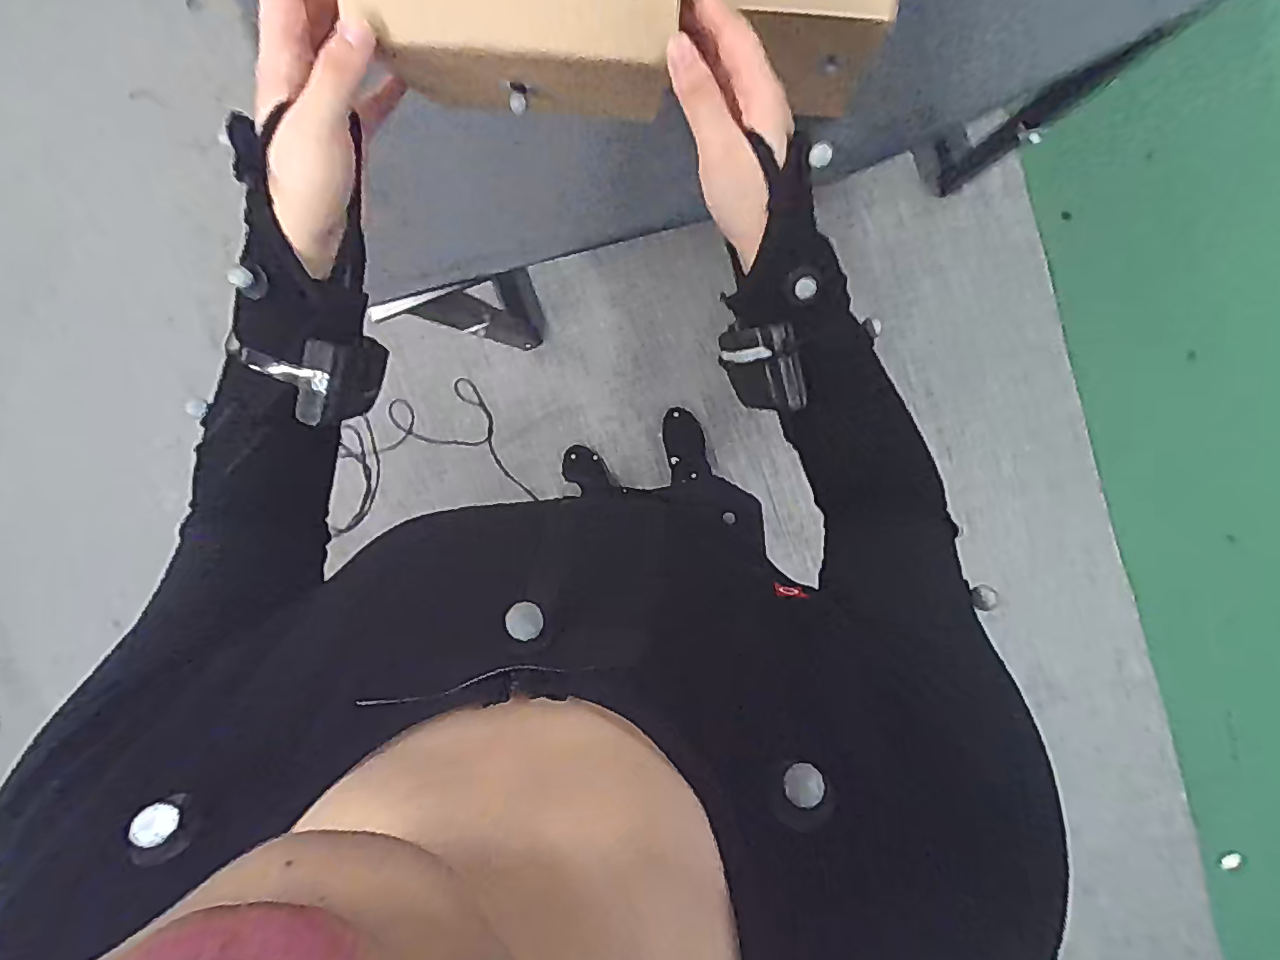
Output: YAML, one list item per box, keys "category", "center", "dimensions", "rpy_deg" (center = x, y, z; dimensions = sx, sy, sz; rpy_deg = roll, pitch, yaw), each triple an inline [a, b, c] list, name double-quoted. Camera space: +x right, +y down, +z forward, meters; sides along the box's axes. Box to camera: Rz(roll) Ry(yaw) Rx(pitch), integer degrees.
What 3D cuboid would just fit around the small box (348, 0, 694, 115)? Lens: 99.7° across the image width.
- category: "small box"
  center: [-0.058, -0.330, 0.320]
  dimensions: [0.179, 0.176, 0.168]
  rpy_deg: [3, 115, -3]
